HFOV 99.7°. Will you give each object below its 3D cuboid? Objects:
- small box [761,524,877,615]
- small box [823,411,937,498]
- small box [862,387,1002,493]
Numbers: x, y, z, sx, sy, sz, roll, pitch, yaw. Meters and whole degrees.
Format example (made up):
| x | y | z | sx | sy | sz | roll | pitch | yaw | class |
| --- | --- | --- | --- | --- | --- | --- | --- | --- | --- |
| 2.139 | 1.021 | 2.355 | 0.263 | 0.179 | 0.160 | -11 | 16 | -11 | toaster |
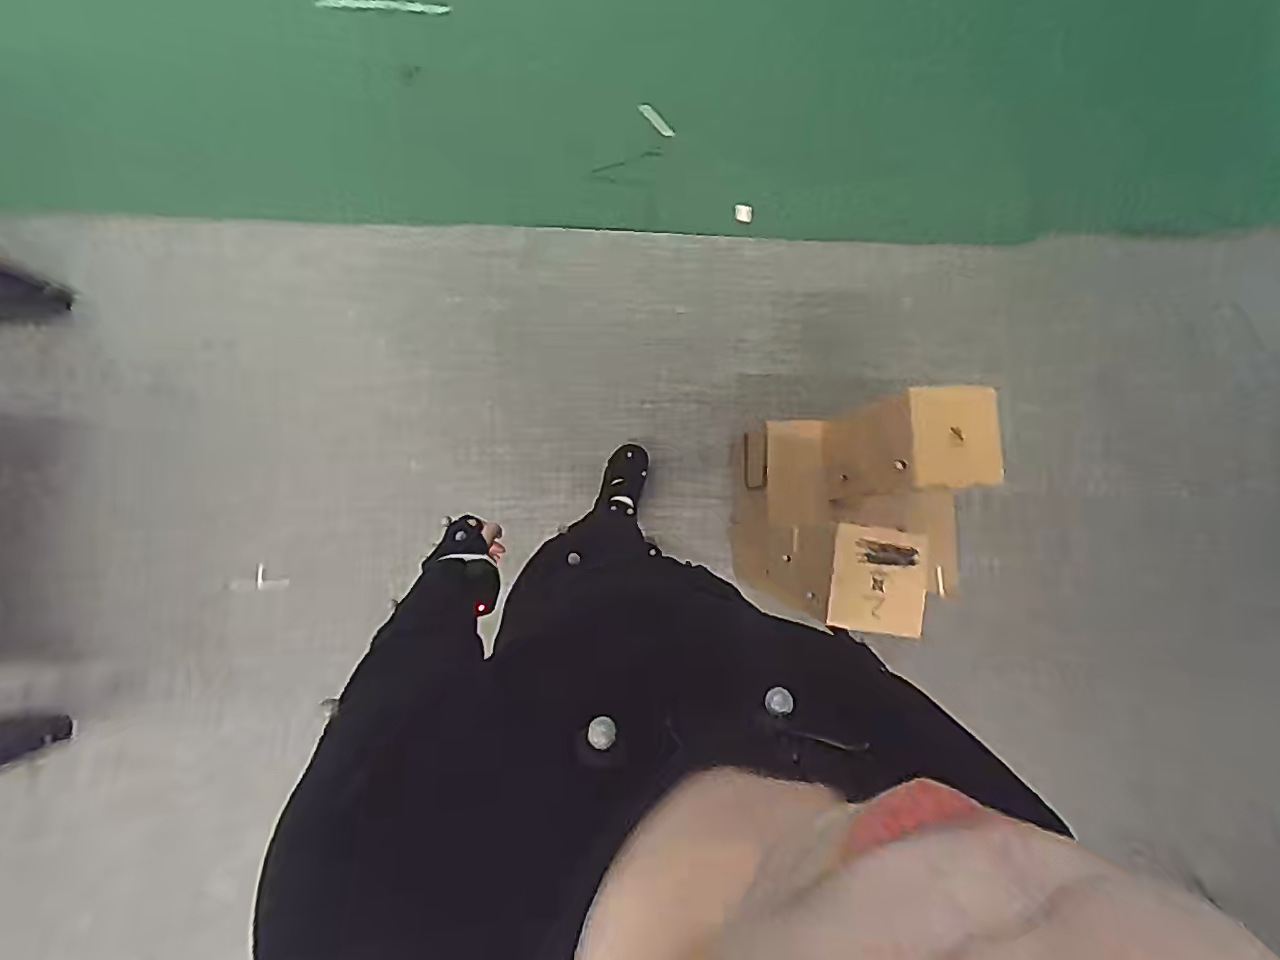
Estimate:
| x | y | z | sx | sy | sz | roll | pitch | yaw | class |
| --- | --- | --- | --- | --- | --- | --- | --- | --- | --- |
| 0.372 | 0.182 | 1.141 | 0.179 | 0.176 | 0.168 | 4 | 86 | -6 | small box |
| 0.514 | -0.049 | 1.174 | 0.168 | 0.176 | 0.179 | -2 | 85 | -7 | small box |
| 0.535 | -0.068 | 1.013 | 0.168 | 0.176 | 0.179 | -1 | 86 | -7 | small box |
